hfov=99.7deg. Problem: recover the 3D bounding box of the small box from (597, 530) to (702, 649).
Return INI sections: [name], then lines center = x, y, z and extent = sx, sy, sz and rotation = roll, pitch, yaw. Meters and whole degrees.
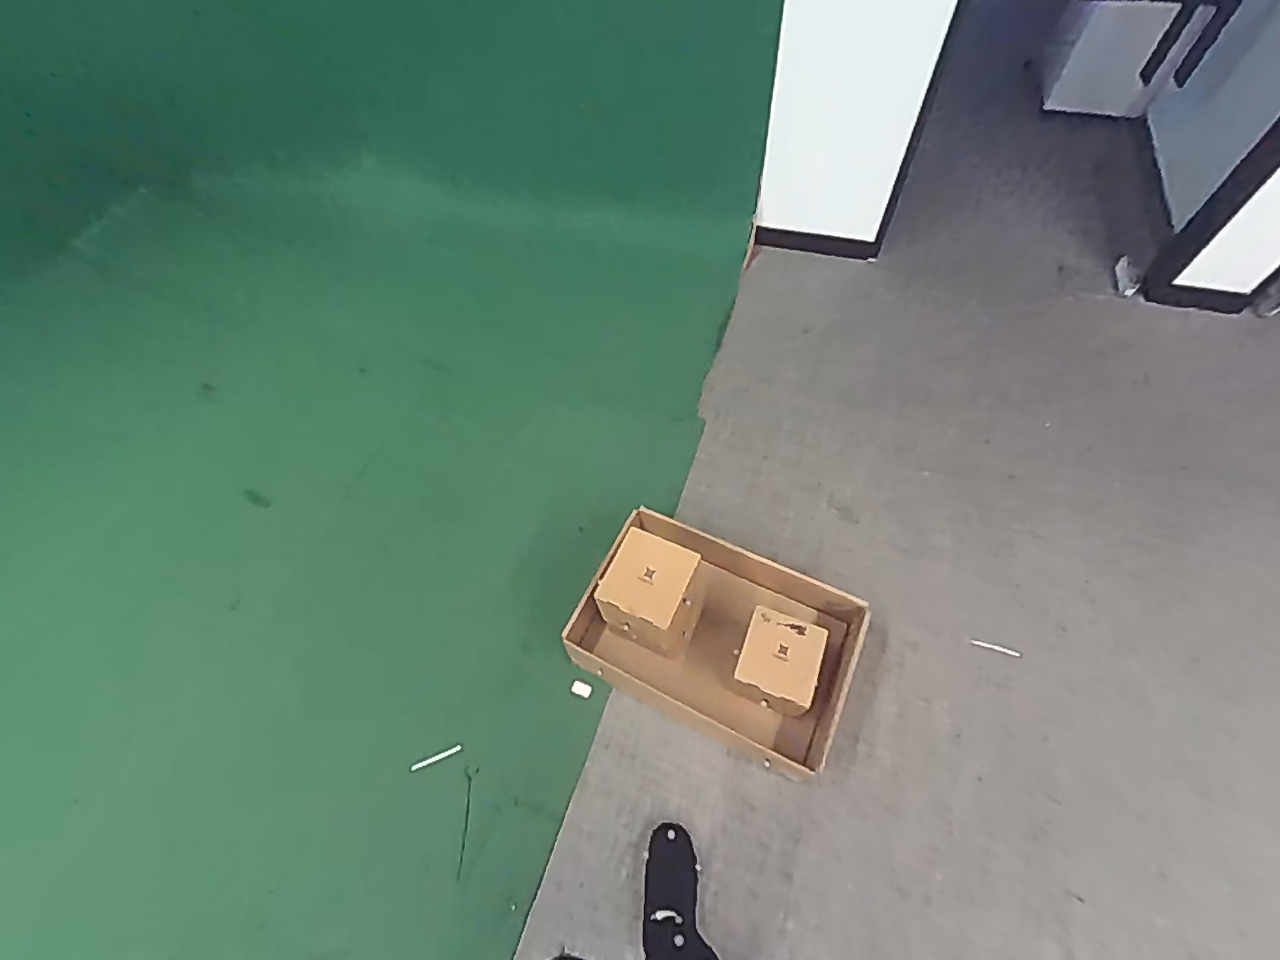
[small box]
center = 0.023, 0.243, 1.180
extent = 0.168, 0.176, 0.179
rotation = 22, 64, 16
